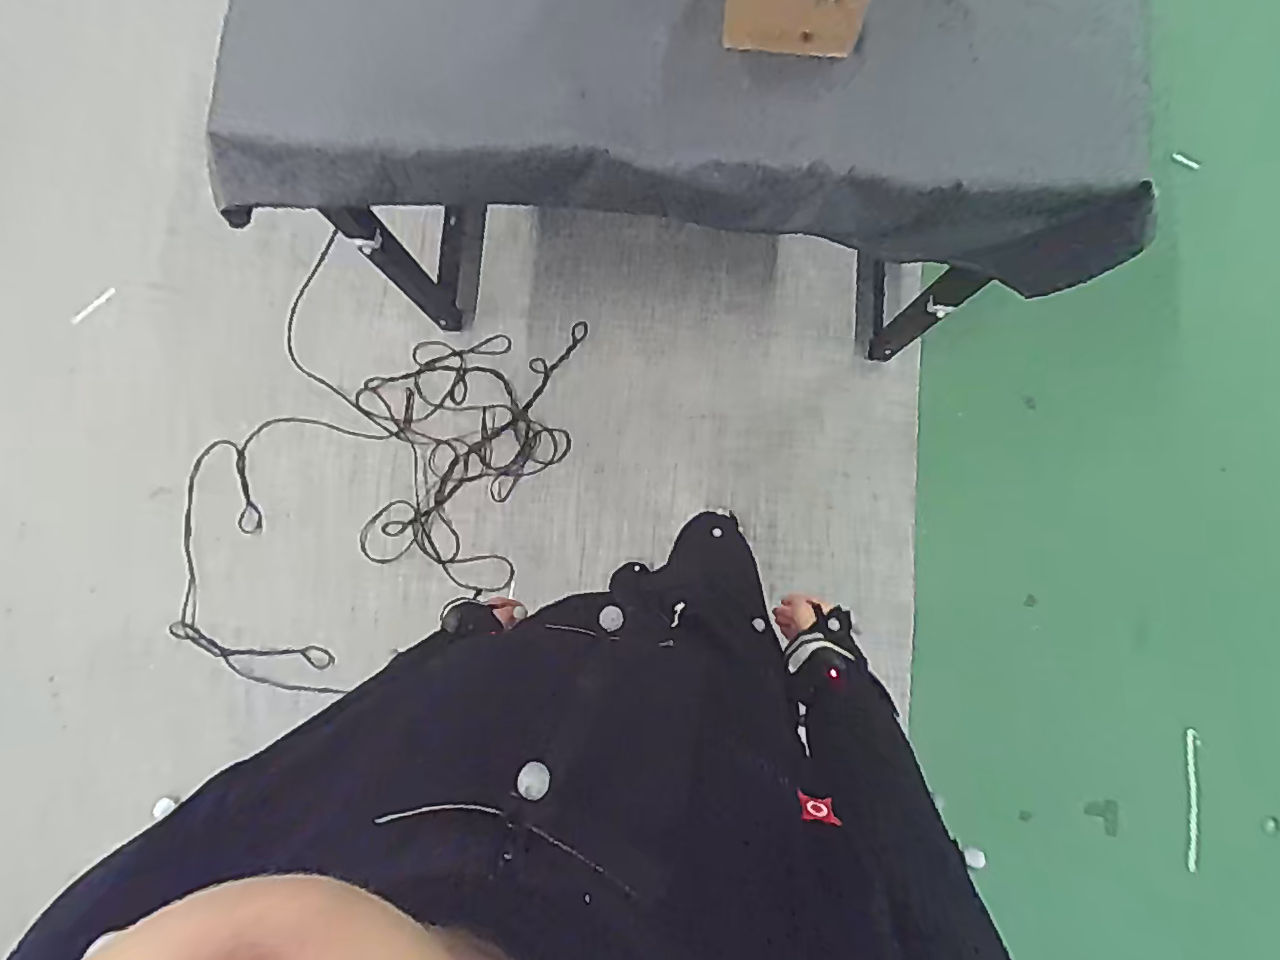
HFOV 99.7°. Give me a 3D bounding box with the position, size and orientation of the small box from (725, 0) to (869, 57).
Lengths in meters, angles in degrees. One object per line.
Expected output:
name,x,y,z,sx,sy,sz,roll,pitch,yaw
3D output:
small box,0.197,-0.643,0.630,0.168,0.176,0.179,7,83,1
